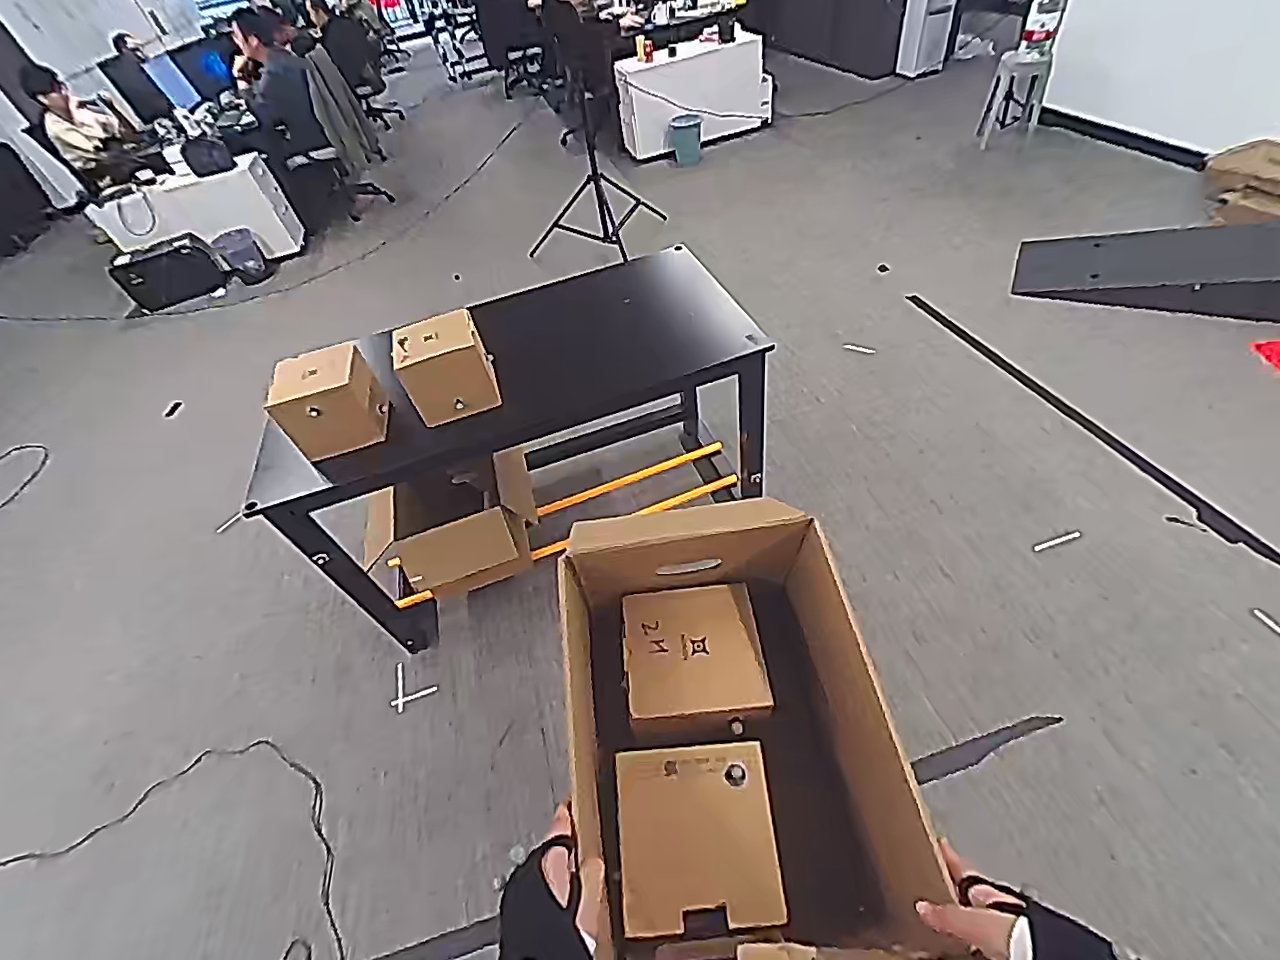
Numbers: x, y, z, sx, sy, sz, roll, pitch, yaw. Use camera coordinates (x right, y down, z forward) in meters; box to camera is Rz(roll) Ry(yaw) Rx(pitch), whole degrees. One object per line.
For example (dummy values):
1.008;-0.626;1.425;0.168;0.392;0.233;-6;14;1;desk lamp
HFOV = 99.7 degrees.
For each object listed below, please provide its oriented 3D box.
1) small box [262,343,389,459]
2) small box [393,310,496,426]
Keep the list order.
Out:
-0.686;-0.171;1.200;0.179;0.176;0.168;-17;49;-6;small box
-0.436;-0.251;1.224;0.179;0.176;0.168;-19;47;-7;small box
